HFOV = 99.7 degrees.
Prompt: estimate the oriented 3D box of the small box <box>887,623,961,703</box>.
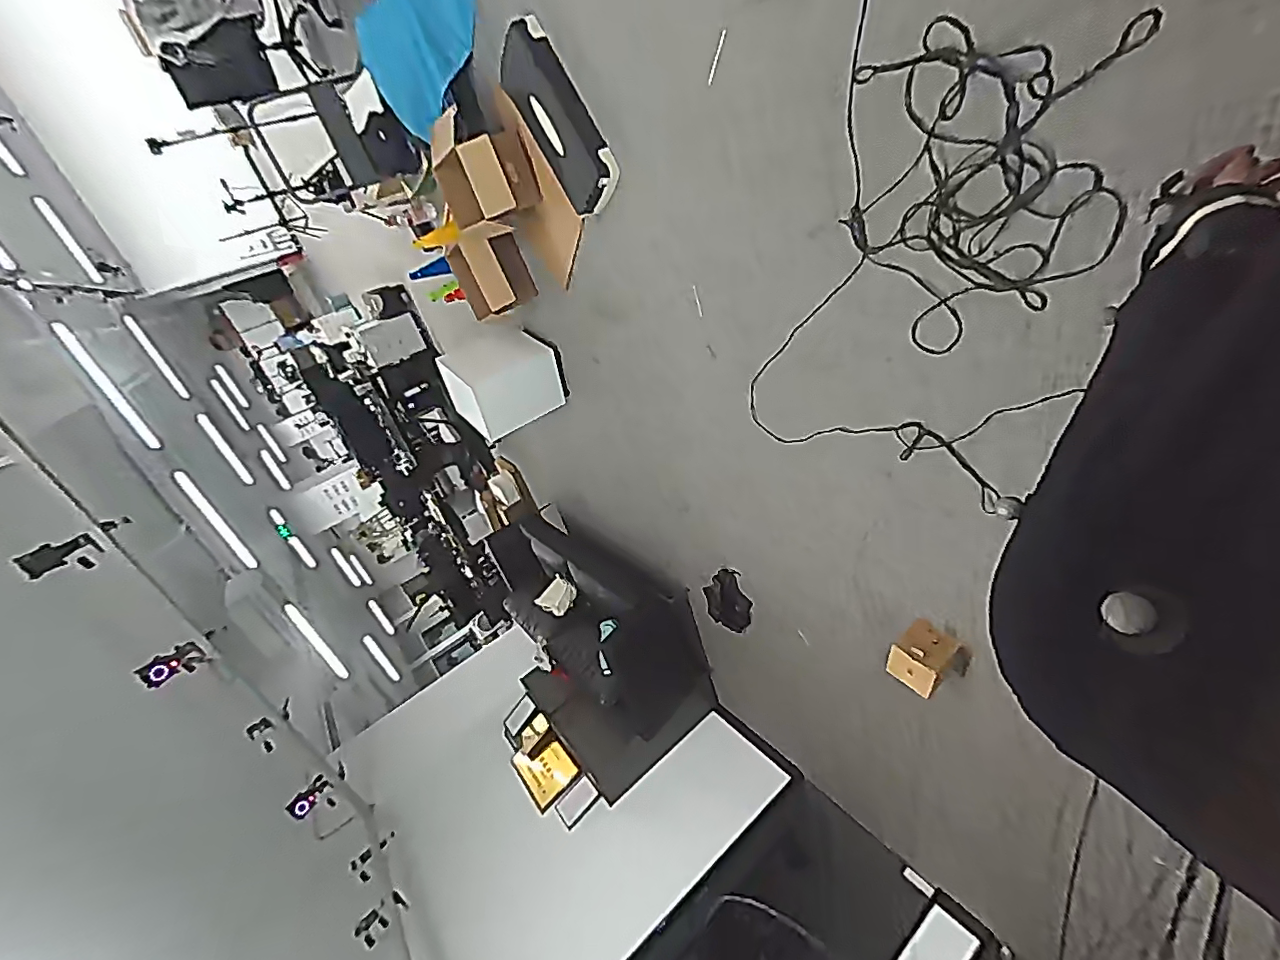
[{"bbox_3d":[1.029,0.659,1.959,0.168,0.176,0.179,35,147,42],"label":"small box"}]
